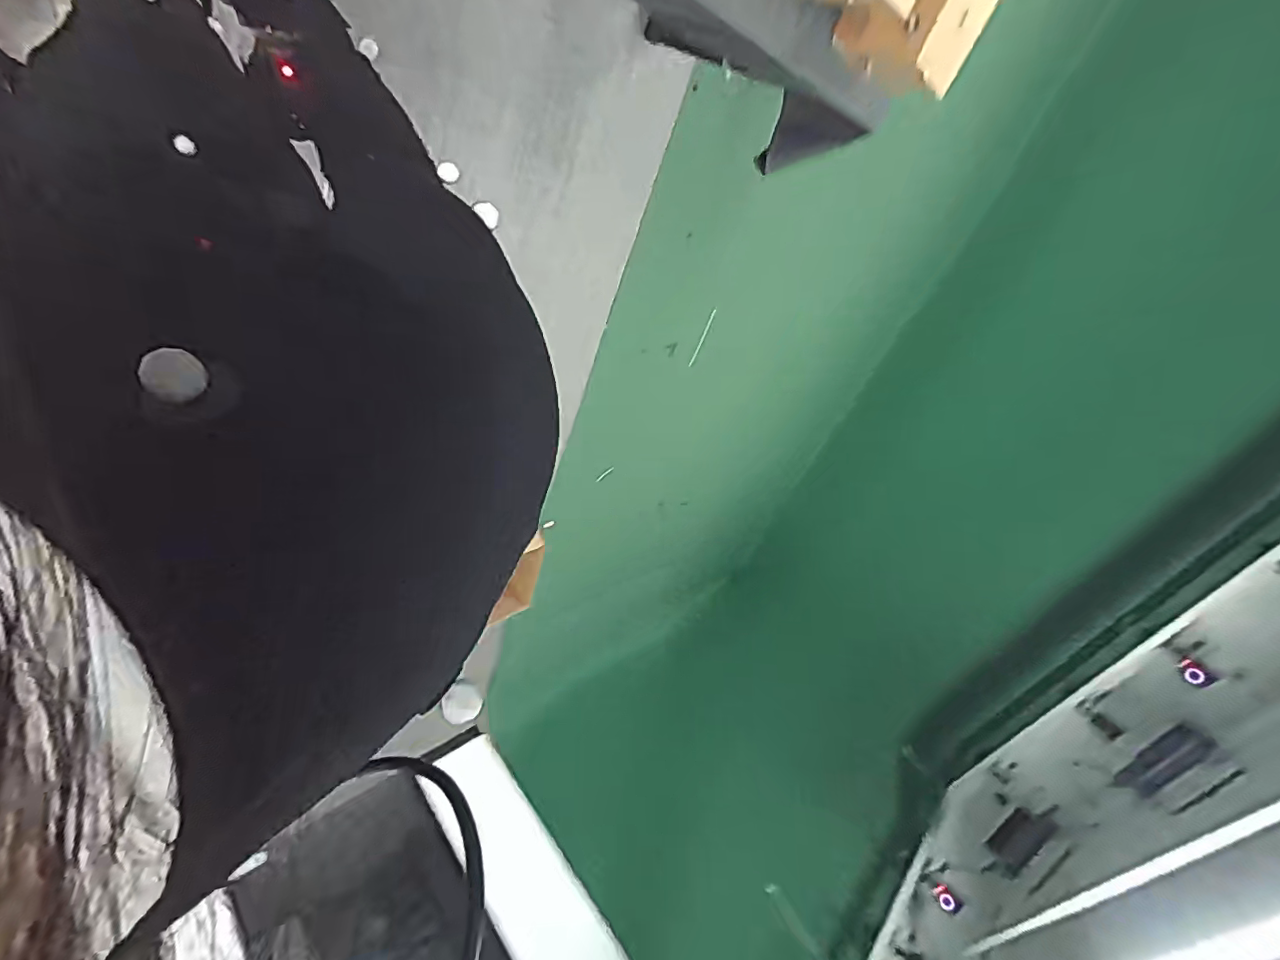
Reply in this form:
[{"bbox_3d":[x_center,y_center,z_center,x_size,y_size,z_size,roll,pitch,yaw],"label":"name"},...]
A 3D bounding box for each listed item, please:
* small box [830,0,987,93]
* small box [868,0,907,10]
[{"bbox_3d":[0.456,-0.802,0.911,0.168,0.176,0.179,-13,137,-48],"label":"small box"},{"bbox_3d":[0.289,-0.766,0.712,0.179,0.176,0.168,-19,142,-44],"label":"small box"}]
